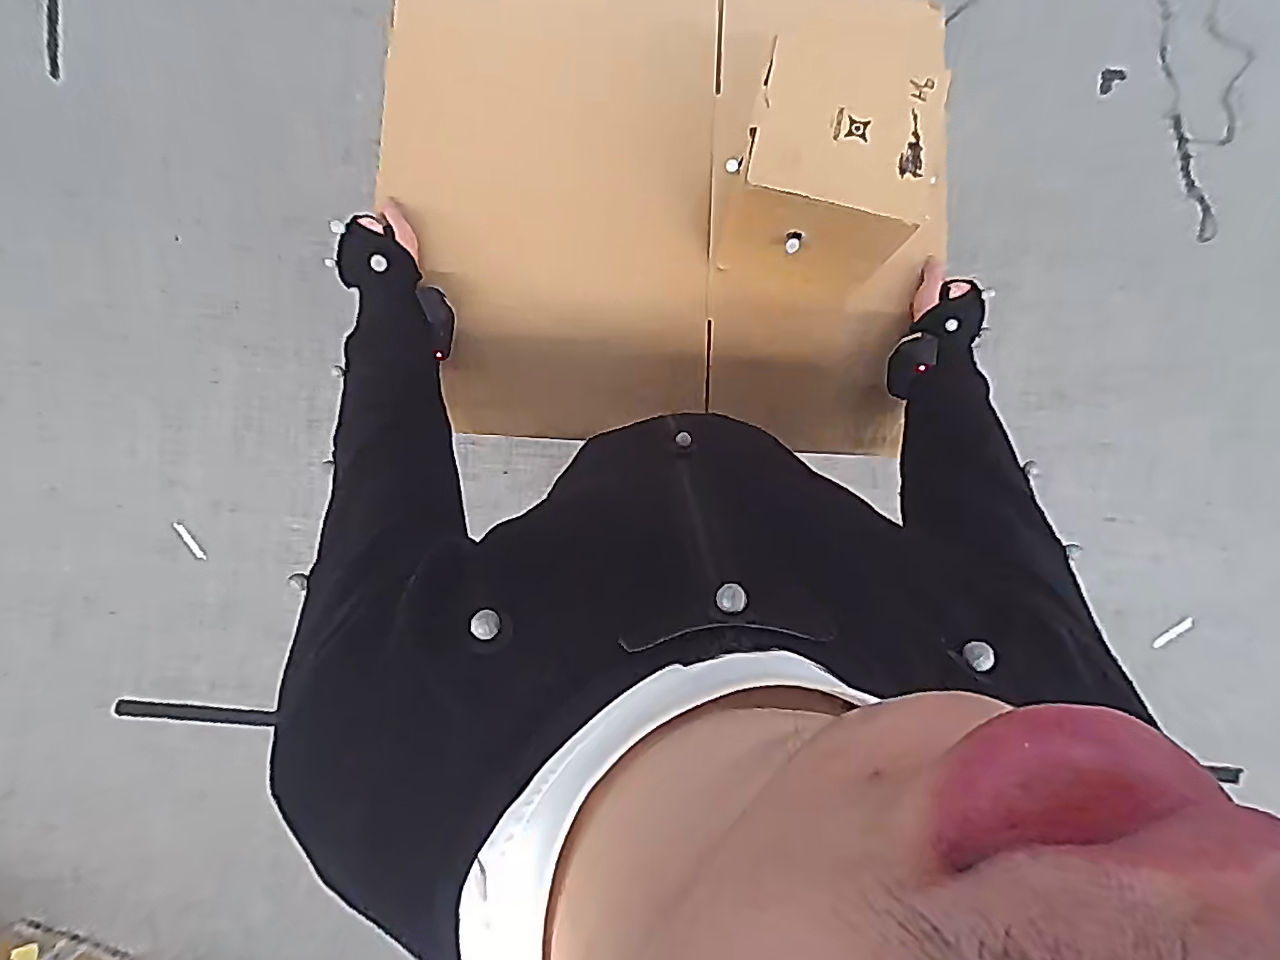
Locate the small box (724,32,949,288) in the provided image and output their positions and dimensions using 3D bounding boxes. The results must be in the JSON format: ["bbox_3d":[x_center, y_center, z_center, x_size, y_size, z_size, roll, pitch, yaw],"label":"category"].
[{"bbox_3d":[0.201,-0.338,0.604,0.179,0.176,0.168,13,85,1],"label":"small box"}]
